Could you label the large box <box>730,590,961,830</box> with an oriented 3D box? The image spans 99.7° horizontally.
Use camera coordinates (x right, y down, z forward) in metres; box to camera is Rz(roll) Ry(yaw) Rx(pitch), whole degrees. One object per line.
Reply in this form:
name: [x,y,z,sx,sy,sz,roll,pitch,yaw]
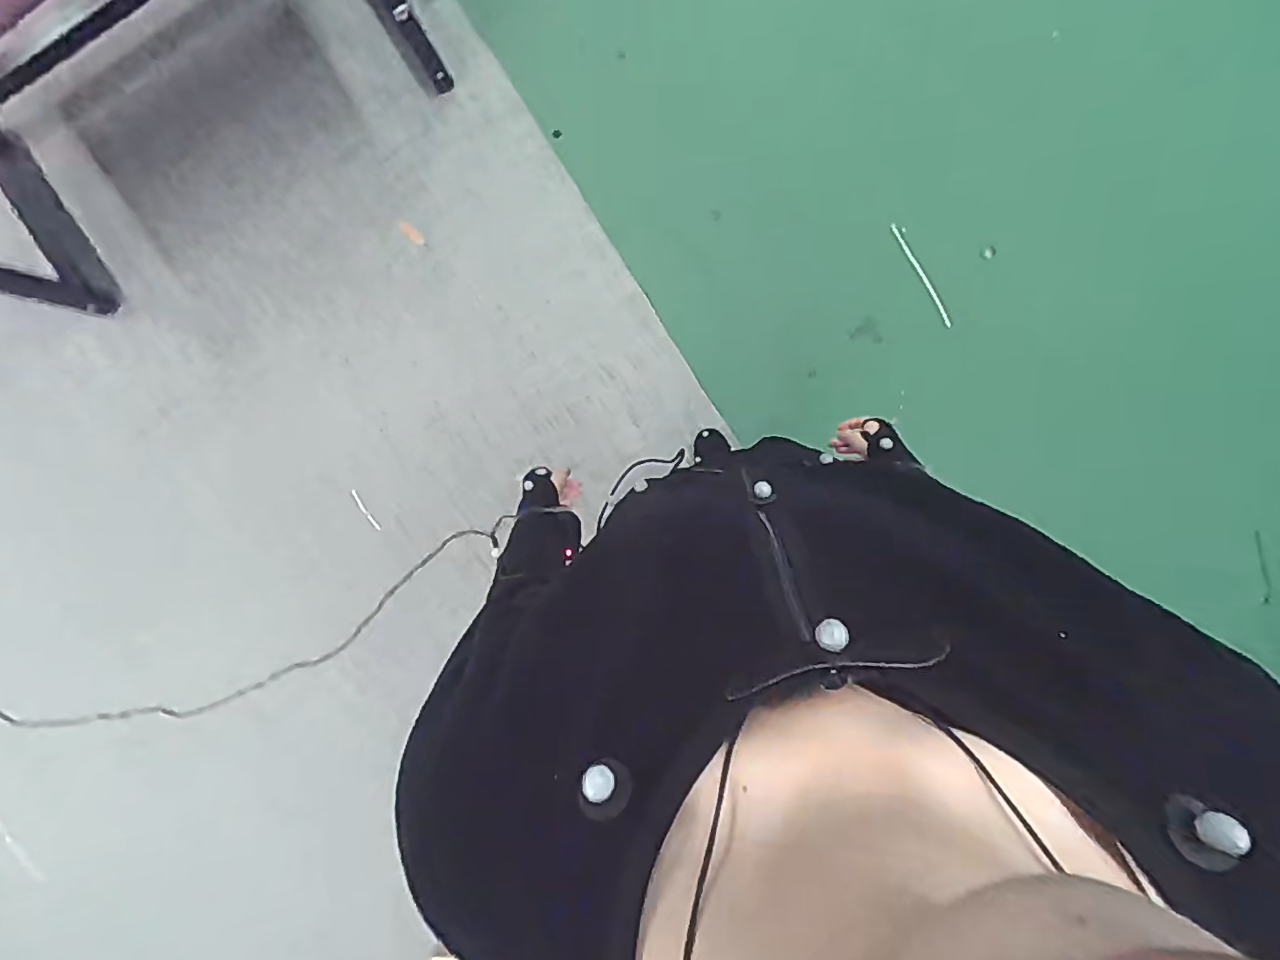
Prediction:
large box: [0.491,0.557,1.381,0.320,0.320,0.408,44,93,-2]
